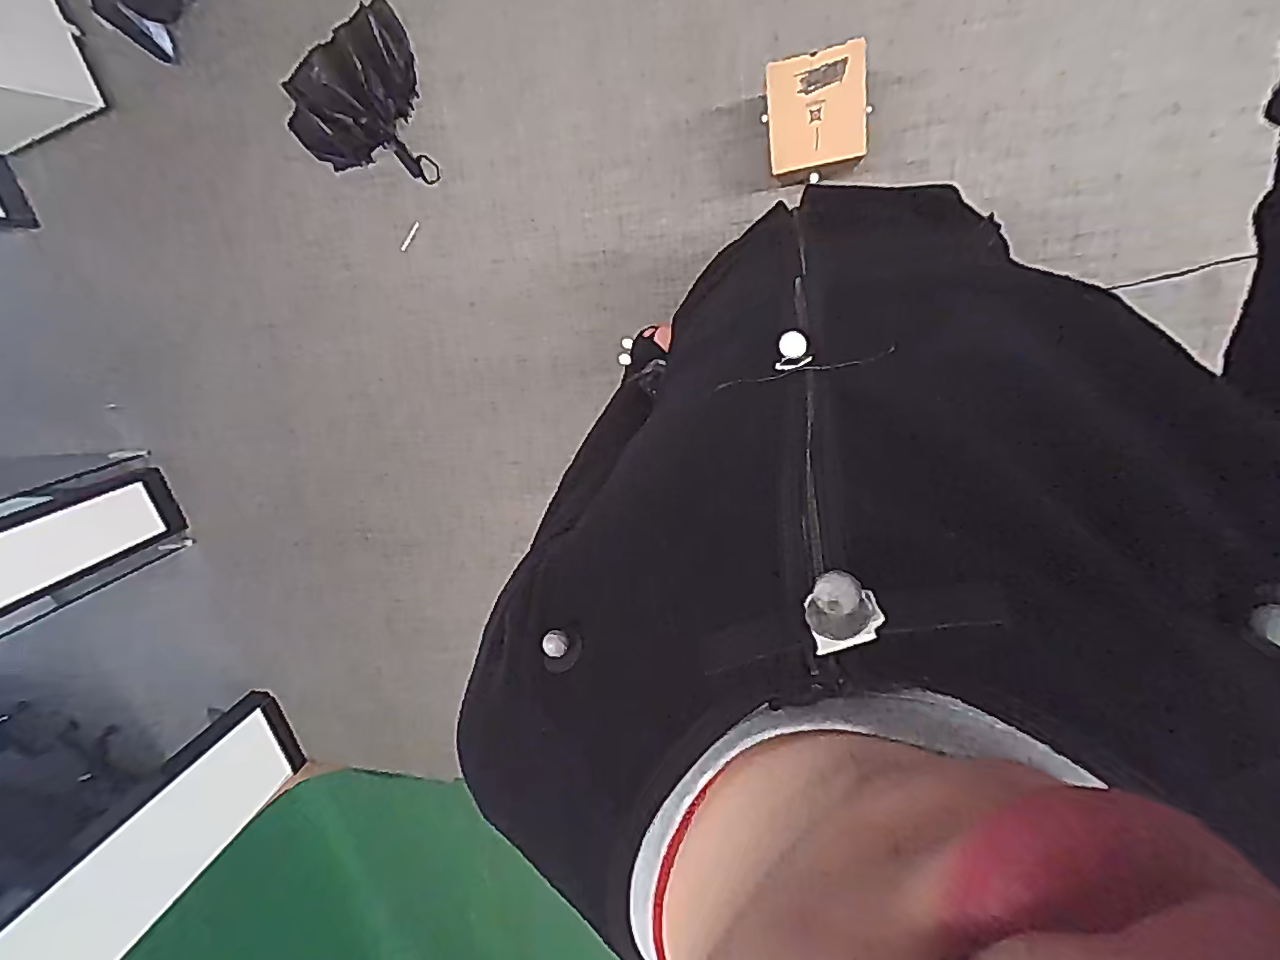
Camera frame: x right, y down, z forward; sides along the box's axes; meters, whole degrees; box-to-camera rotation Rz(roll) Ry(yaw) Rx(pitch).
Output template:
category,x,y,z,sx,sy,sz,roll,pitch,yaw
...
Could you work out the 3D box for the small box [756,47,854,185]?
category,x,y,z,sx,sy,sz,roll,pitch,yaw
small box,0.313,-0.679,1.032,0.168,0.176,0.179,-2,114,18
